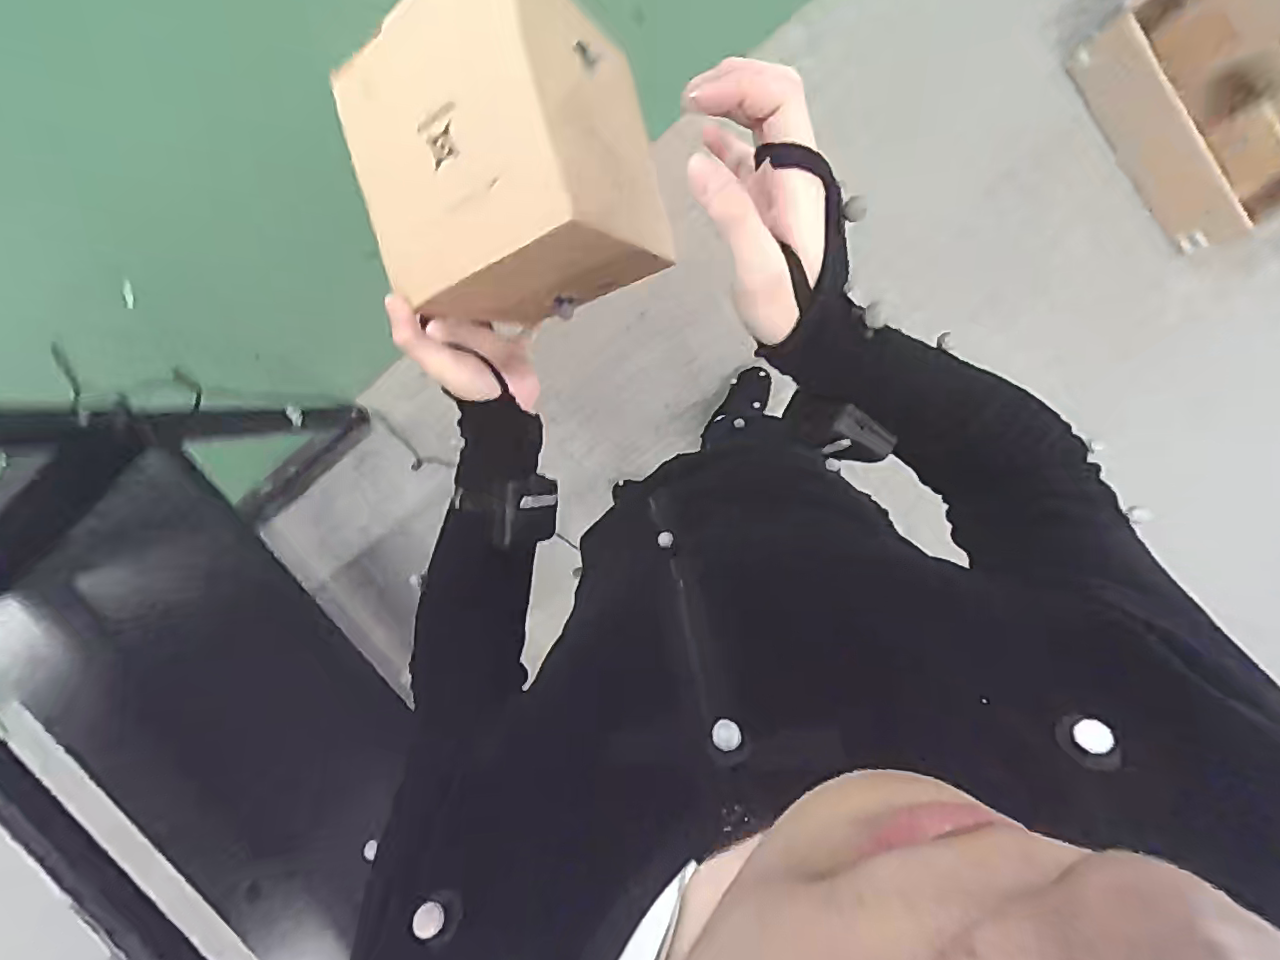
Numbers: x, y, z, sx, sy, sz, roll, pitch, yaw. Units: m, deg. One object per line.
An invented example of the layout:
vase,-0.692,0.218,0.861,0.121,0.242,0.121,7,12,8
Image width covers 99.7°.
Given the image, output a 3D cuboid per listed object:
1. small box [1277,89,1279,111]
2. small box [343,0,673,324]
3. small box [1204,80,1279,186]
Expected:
small box,1.487,-0.813,1.104,0.179,0.176,0.168,-34,94,8
small box,-0.092,-0.240,0.436,0.168,0.176,0.179,-13,94,28
small box,1.498,-0.835,1.267,0.179,0.176,0.168,-35,93,8
